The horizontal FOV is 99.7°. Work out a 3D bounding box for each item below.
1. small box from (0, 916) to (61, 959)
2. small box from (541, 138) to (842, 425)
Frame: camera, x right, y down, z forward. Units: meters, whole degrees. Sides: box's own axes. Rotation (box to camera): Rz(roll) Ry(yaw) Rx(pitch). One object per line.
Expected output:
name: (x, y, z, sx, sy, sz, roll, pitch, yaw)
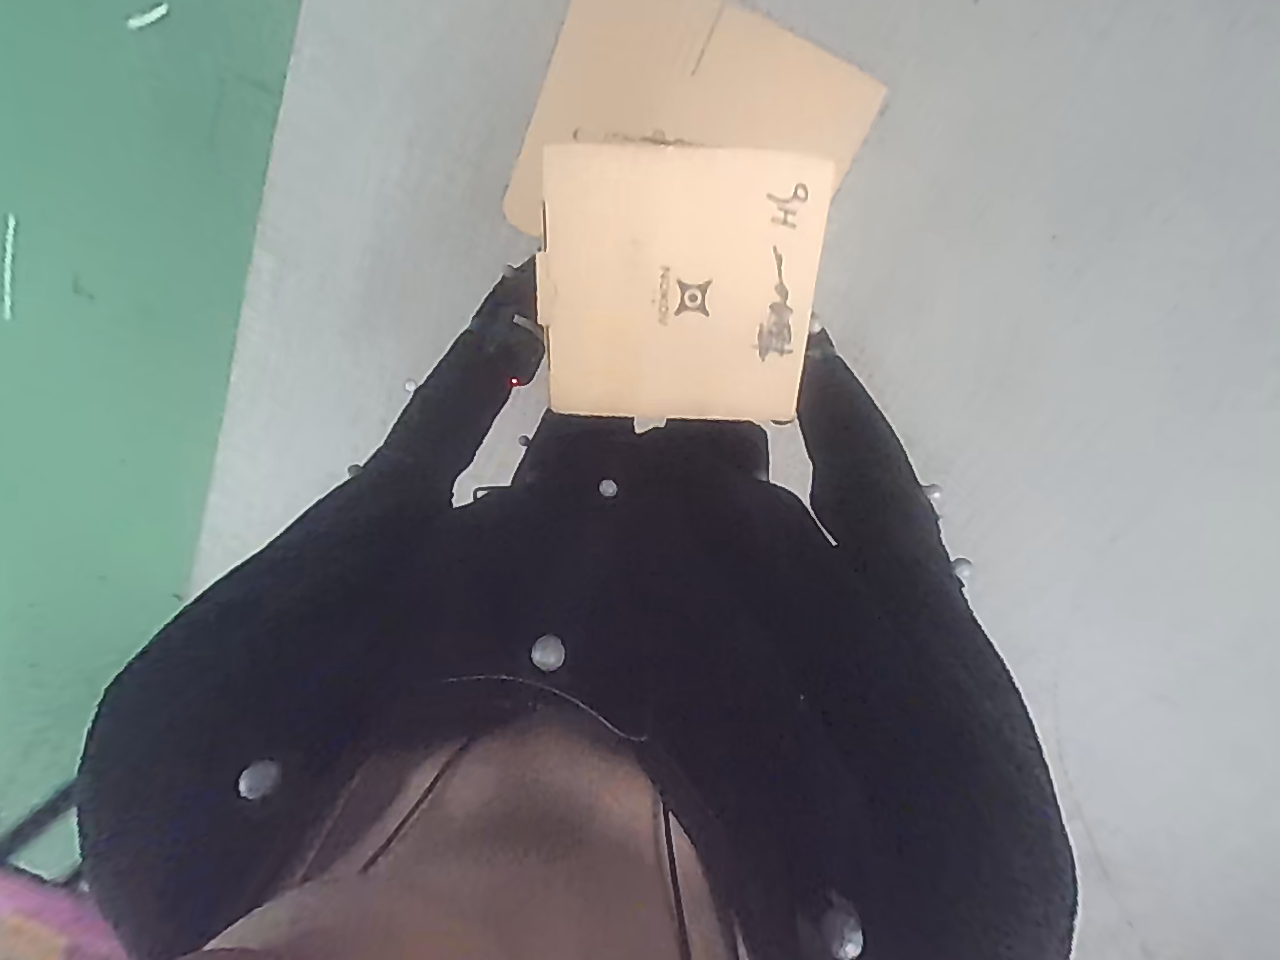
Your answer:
small box: (-1.479, 1.137, 1.217, 0.168, 0.176, 0.179, 34, 110, -7)
small box: (0.028, -0.150, 0.415, 0.179, 0.176, 0.168, 2, 115, 0)
